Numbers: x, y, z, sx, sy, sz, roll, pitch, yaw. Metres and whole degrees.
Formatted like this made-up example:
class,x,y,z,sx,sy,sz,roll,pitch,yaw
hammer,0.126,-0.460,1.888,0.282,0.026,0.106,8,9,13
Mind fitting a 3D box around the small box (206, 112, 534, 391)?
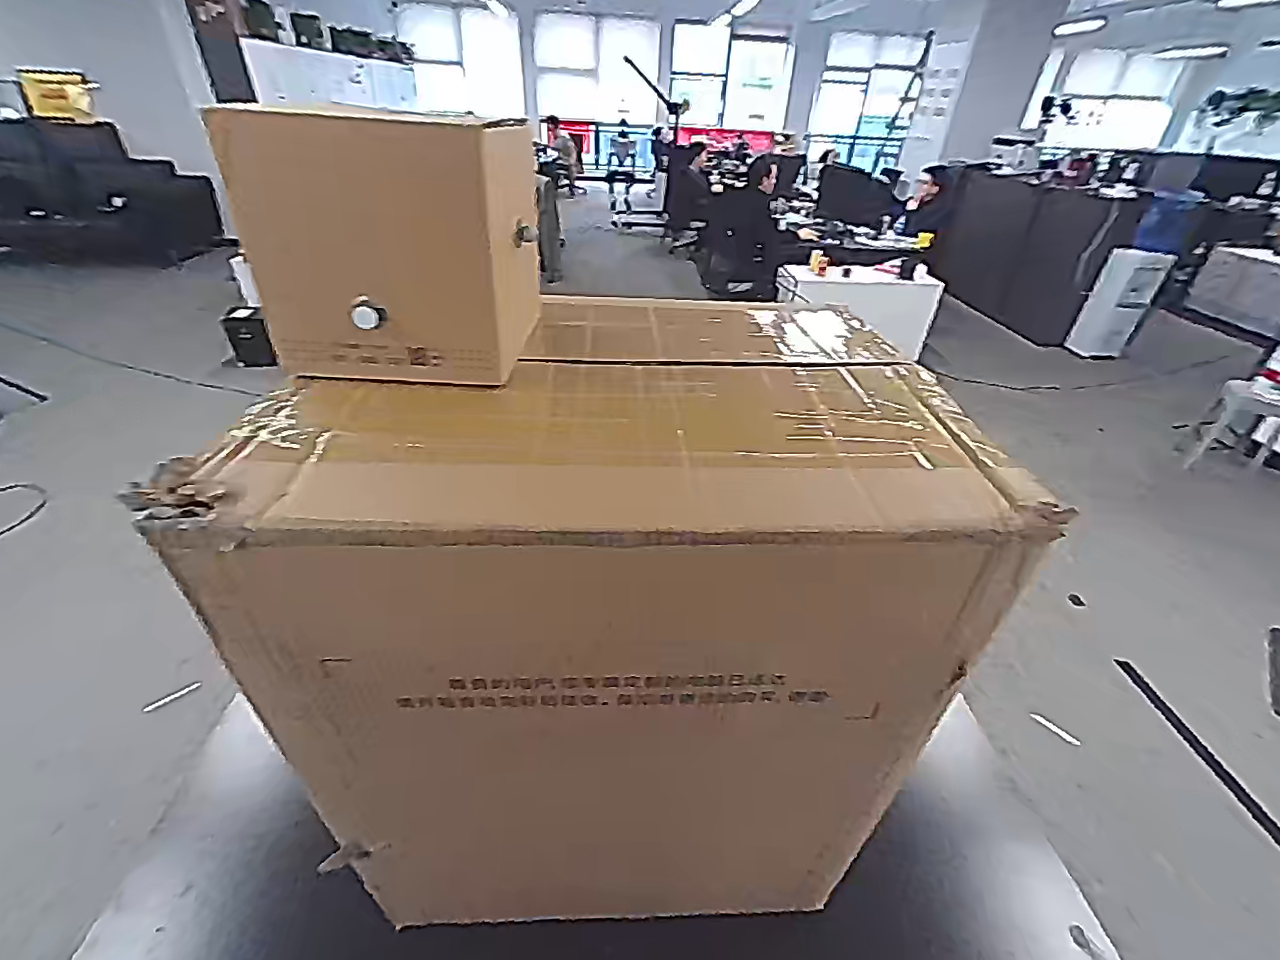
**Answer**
class,x,y,z,sx,sy,sz,roll,pitch,yaw
small box,-0.181,-0.186,0.434,0.168,0.176,0.179,2,34,-2
